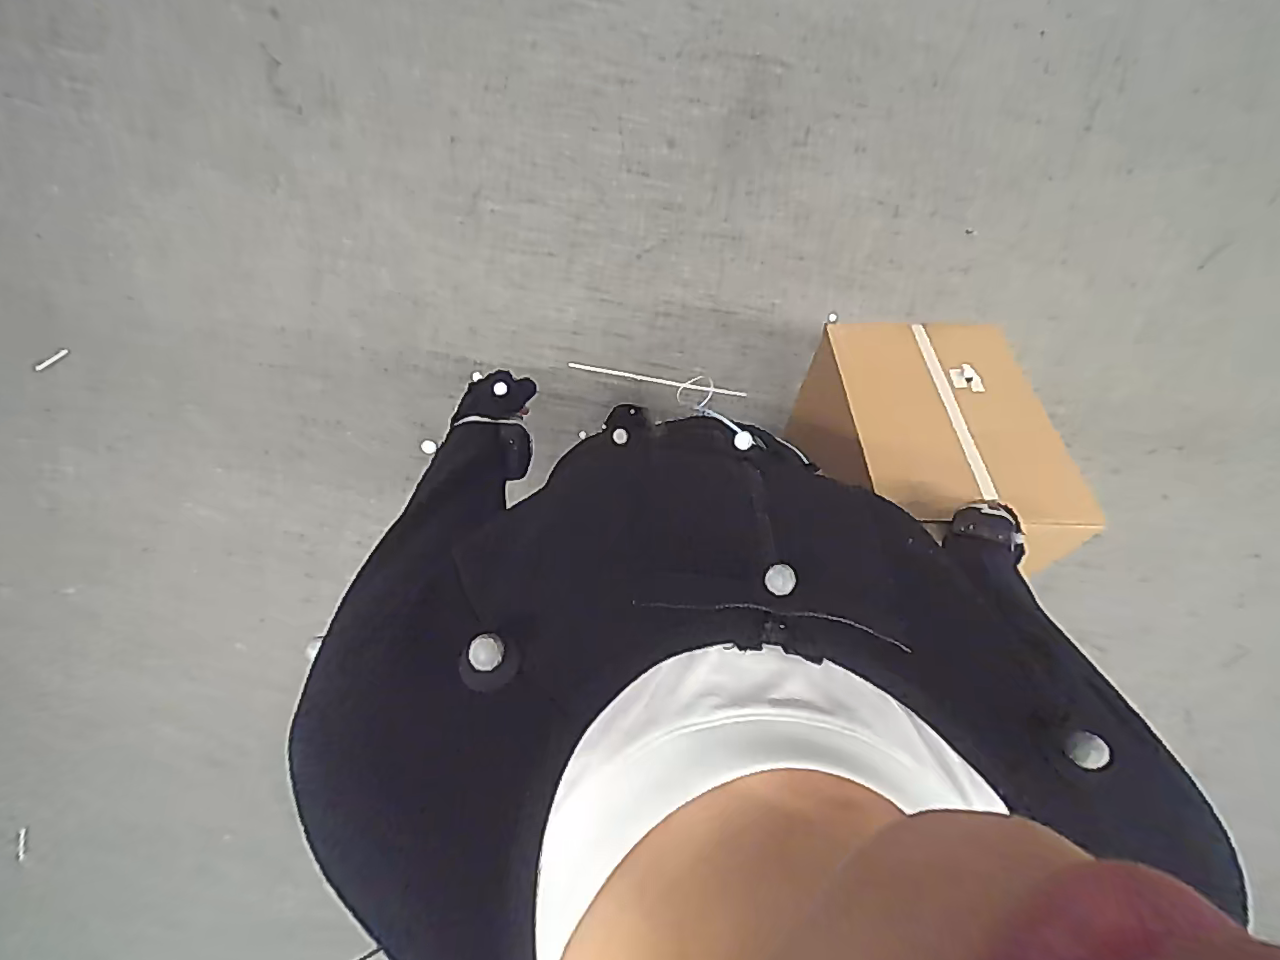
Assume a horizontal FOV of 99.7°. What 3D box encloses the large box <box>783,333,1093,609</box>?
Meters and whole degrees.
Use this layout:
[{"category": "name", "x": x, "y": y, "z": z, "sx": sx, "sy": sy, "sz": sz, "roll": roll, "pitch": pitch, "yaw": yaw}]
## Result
[{"category": "large box", "x": 0.474, "y": -0.011, "z": 0.981, "sx": 0.320, "sy": 0.320, "sz": 0.408, "roll": 1, "pitch": 55, "yaw": -2}]
